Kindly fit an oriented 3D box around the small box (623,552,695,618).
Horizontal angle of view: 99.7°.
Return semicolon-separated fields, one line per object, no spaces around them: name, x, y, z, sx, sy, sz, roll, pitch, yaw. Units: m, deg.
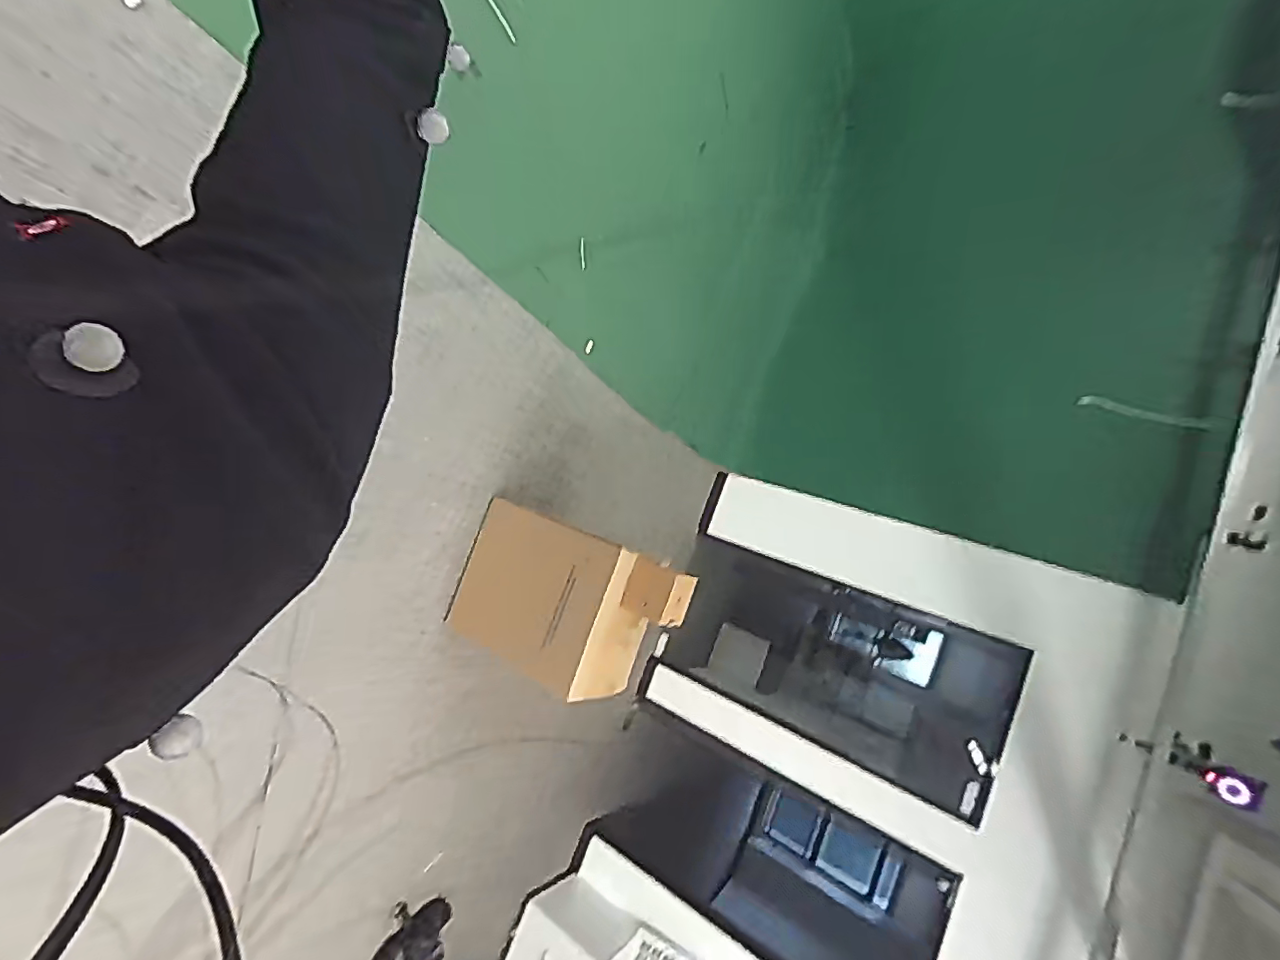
small box;0.063;0.365;1.882;0.168;0.176;0.179;24;83;-57
